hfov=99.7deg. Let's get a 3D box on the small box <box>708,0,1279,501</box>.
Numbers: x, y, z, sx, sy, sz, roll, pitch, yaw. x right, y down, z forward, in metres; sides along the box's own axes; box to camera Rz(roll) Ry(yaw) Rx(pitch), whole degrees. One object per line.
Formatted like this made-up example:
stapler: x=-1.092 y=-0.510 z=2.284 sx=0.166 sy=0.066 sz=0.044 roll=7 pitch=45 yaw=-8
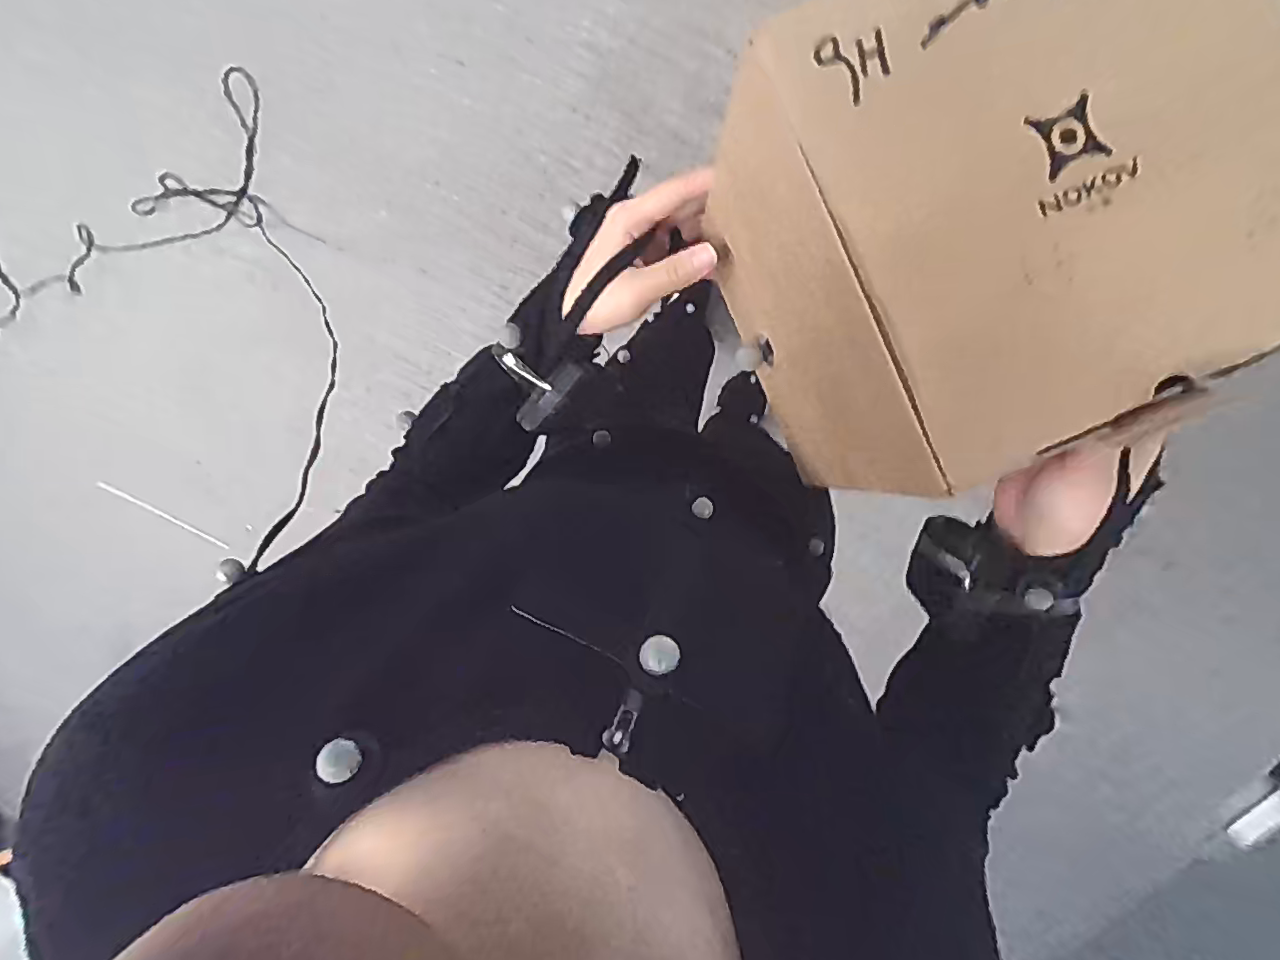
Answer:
small box: x=0.147 y=-0.104 z=0.272 sx=0.168 sy=0.176 sz=0.179 roll=-23 pitch=91 yaw=0
